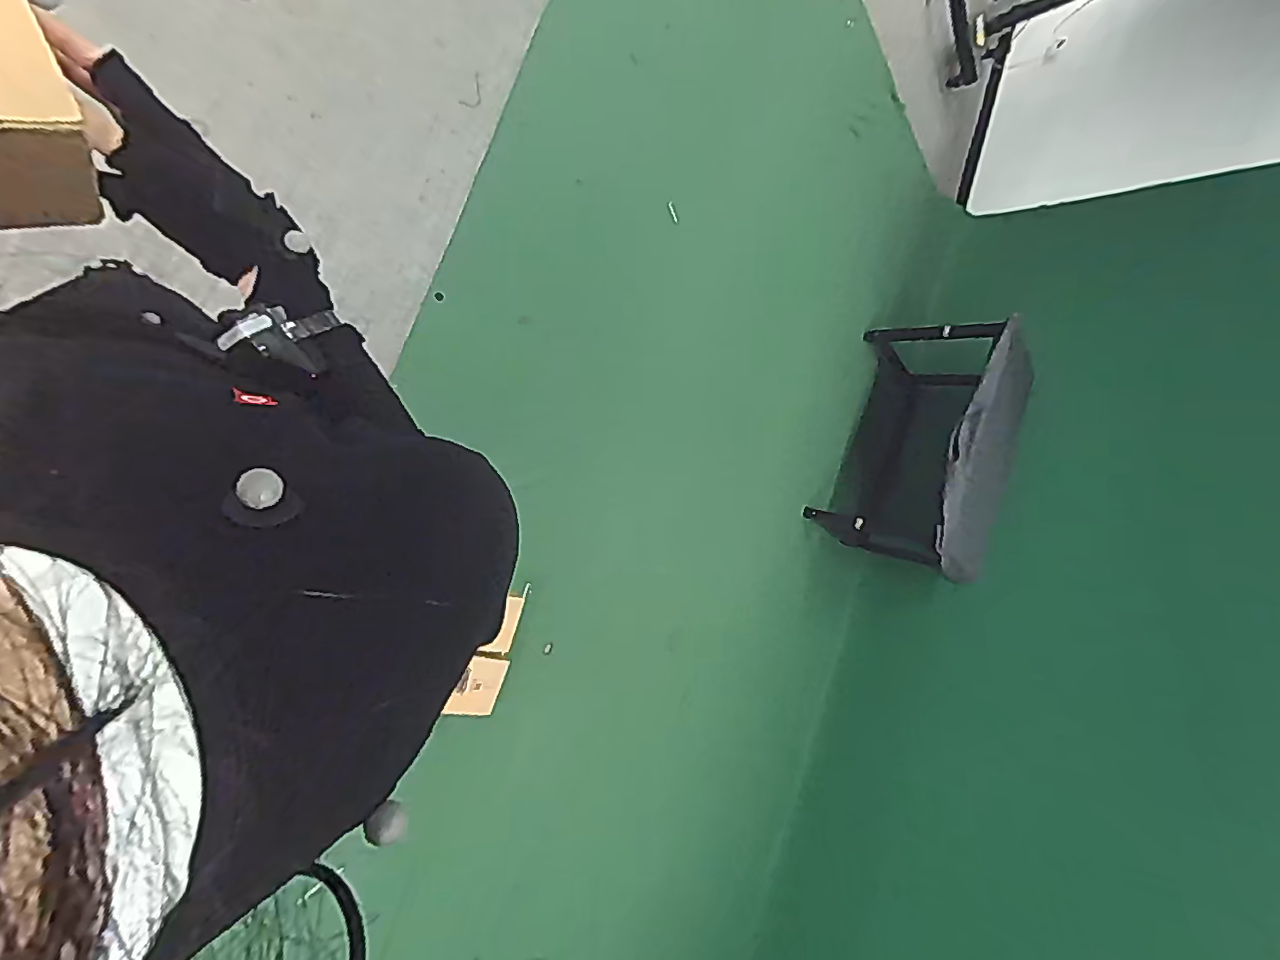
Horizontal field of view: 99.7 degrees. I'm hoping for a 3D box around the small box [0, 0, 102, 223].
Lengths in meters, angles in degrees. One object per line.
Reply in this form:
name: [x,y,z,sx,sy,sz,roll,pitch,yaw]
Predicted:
small box: [-0.408,-0.236,0.258,0.168,0.176,0.179,-29,114,-38]
